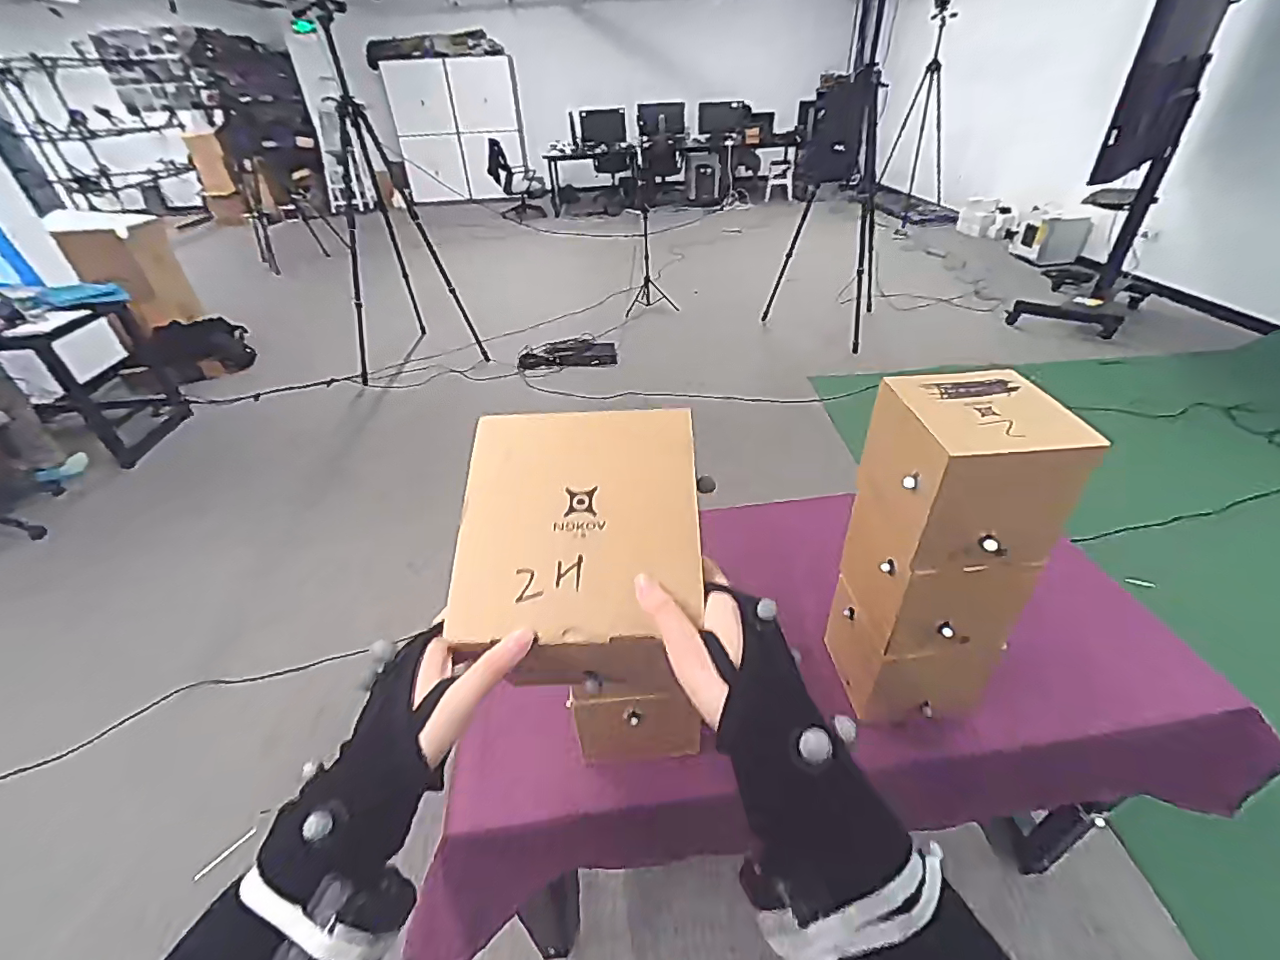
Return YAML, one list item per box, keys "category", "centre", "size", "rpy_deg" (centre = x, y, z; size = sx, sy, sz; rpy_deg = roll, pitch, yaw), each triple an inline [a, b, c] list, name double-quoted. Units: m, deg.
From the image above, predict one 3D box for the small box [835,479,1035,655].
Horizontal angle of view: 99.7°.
- category: "small box"
  centre: [0.393, 0.120, 0.763]
  size: [0.168, 0.176, 0.179]
  rpy_deg: [-5, 37, -2]

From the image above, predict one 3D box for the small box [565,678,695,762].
- category: "small box"
  centre: [-0.014, 0.305, 0.818]
  size: [0.179, 0.176, 0.168]
  rpy_deg: [-4, 37, -2]

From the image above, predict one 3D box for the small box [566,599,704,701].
- category: "small box"
  centre: [-0.015, 0.172, 0.723]
  size: [0.179, 0.176, 0.168]
  rpy_deg: [-6, 37, -1]

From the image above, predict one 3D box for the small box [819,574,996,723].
- category: "small box"
  centre: [0.403, 0.257, 0.851]
  size: [0.179, 0.176, 0.168]
  rpy_deg: [-5, 36, -3]

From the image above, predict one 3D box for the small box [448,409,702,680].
- category: "small box"
  centre: [-0.039, 0.061, 0.453]
  size: [0.168, 0.176, 0.179]
  rpy_deg: [-2, 60, 3]
